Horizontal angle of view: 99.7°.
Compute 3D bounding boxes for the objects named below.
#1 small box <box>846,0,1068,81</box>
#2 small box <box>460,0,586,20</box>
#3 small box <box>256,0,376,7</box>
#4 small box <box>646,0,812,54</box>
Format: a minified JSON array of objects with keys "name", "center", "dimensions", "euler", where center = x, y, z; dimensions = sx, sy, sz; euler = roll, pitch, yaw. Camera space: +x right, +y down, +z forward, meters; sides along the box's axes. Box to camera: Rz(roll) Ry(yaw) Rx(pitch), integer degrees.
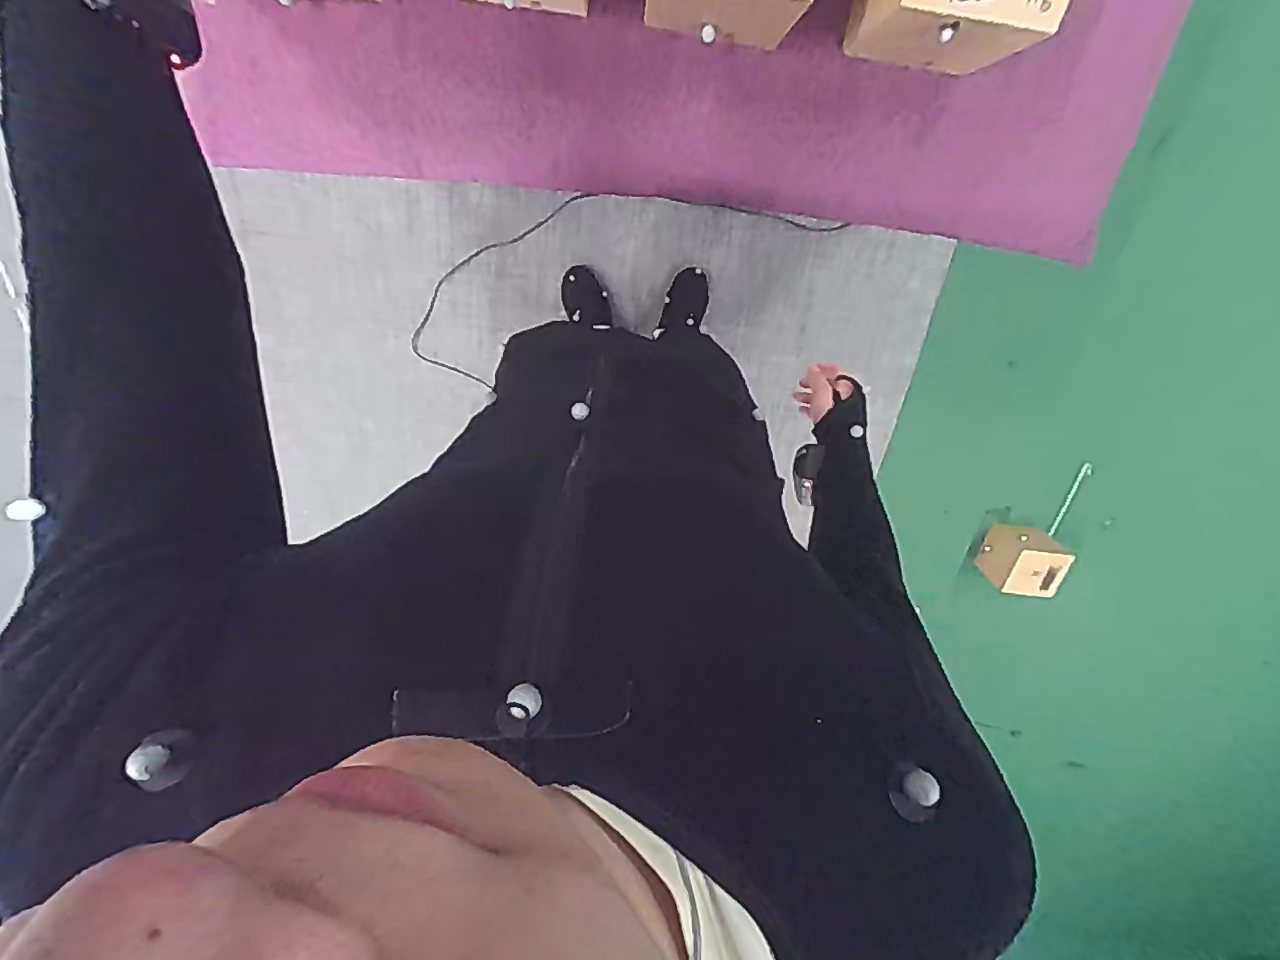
[{"name":"small box","center":[0.341,-0.558,0.570],"dimensions":[0.168,0.176,0.179],"euler":[7,115,-4]},{"name":"small box","center":[-0.136,-0.608,0.540],"dimensions":[0.168,0.176,0.179],"euler":[6,116,-3]},{"name":"small box","center":[-0.386,-0.613,0.535],"dimensions":[0.168,0.176,0.179],"euler":[1,116,-1]},{"name":"small box","center":[0.098,-0.581,0.556],"dimensions":[0.168,0.176,0.179],"euler":[8,116,-4]}]
